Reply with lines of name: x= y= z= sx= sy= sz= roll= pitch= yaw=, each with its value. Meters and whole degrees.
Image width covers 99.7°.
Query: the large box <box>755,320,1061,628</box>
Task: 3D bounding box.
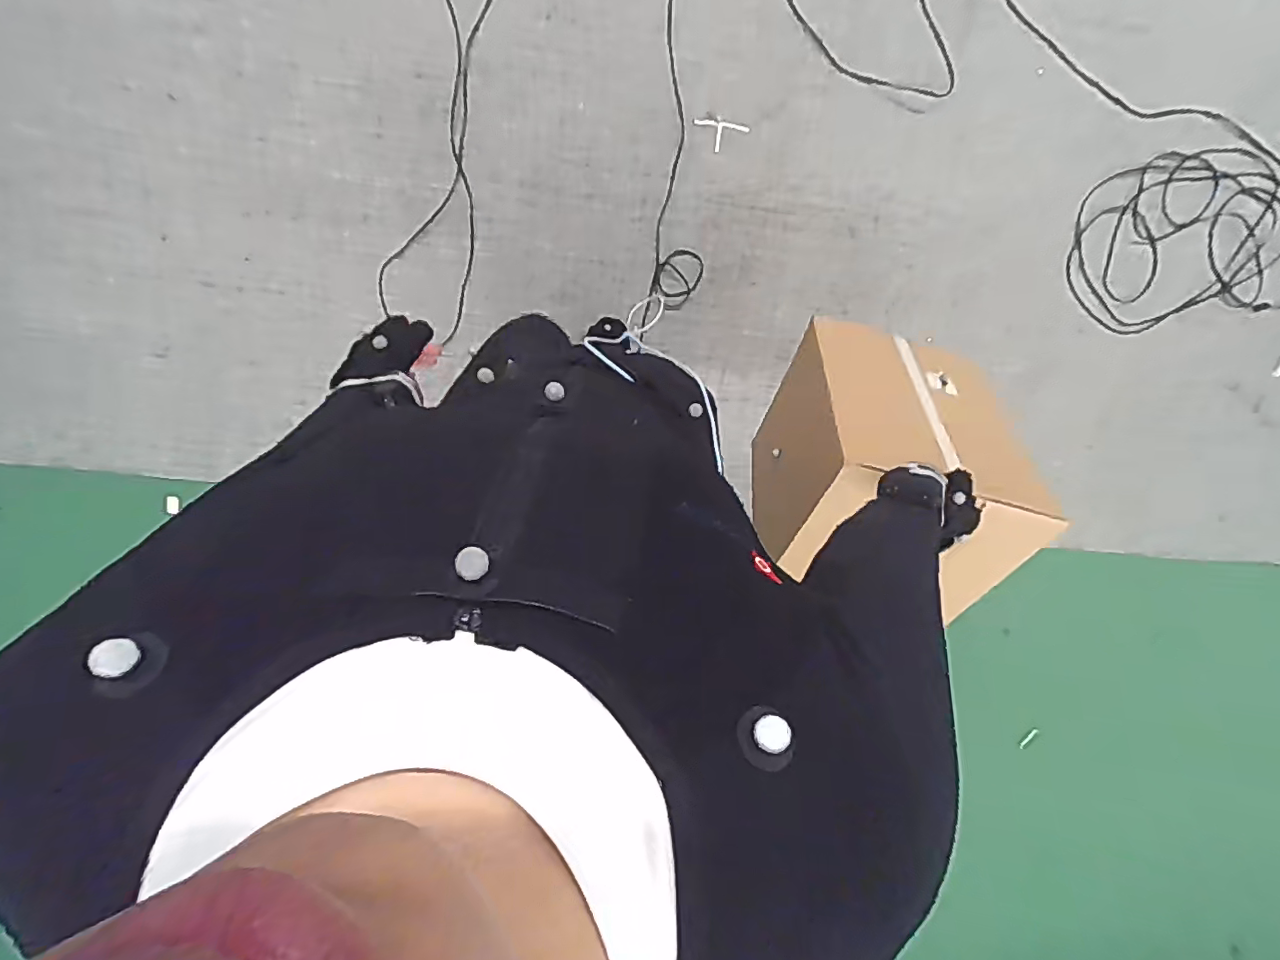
large box: x=0.401 y=-0.015 z=0.943 sx=0.320 sy=0.408 sz=0.320 roll=15 pitch=134 yaw=-4
